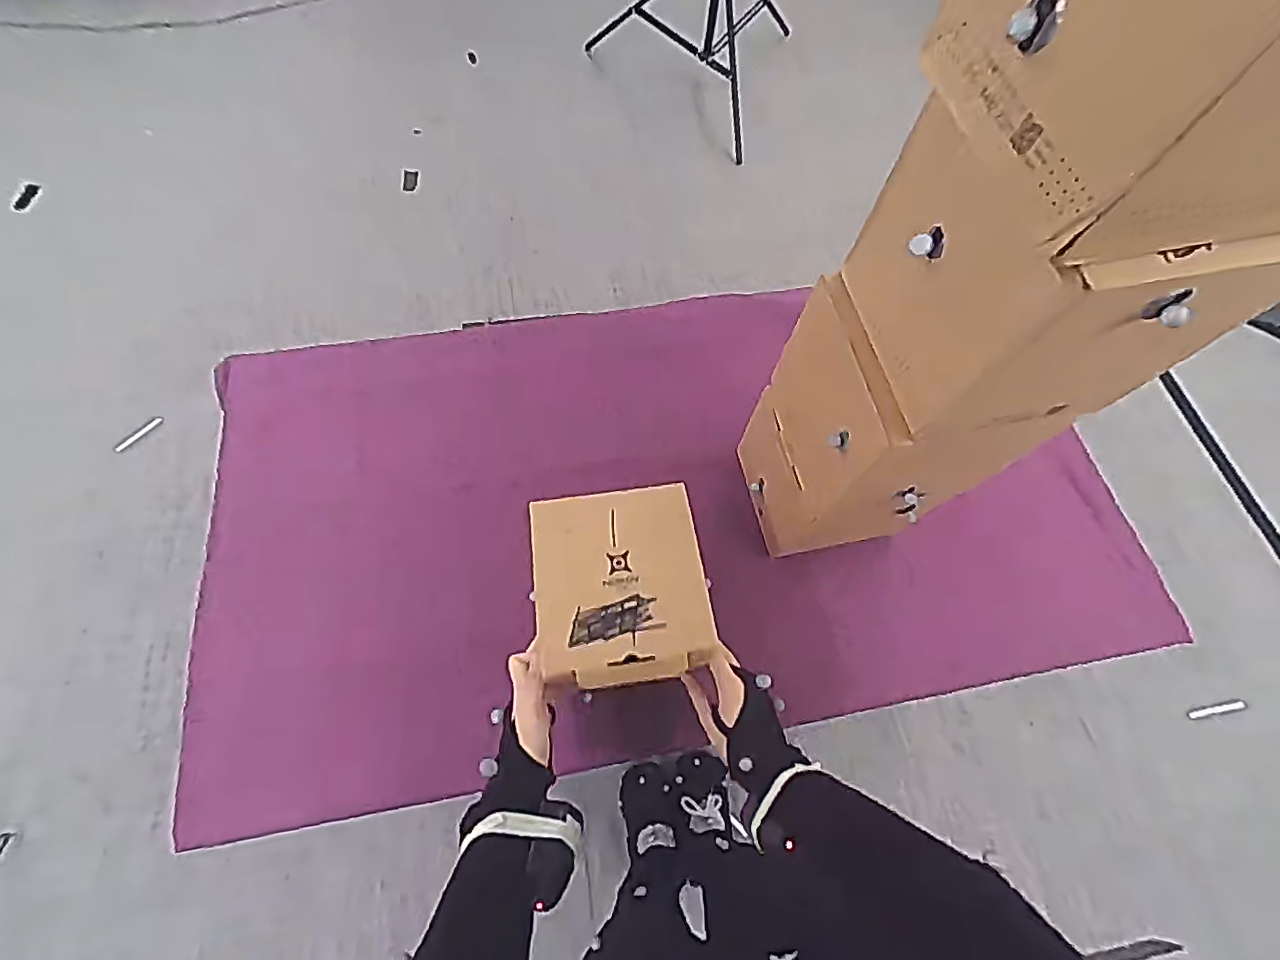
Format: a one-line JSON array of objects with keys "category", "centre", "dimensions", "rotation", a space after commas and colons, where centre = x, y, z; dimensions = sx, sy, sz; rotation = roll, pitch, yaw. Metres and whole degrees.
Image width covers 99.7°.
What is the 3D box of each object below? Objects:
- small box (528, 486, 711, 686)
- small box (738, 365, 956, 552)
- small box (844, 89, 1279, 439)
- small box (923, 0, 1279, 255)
[{"category": "small box", "centre": [-0.025, 0.126, 0.601], "dimensions": [0.168, 0.176, 0.179], "rotation": [-7, 65, -5]}, {"category": "small box", "centre": [0.239, -0.021, 0.675], "dimensions": [0.179, 0.176, 0.168], "rotation": [-10, 67, -6]}, {"category": "small box", "centre": [0.270, -0.152, 0.376], "dimensions": [0.168, 0.176, 0.179], "rotation": [-10, 67, -6]}, {"category": "small box", "centre": [0.267, -0.225, 0.230], "dimensions": [0.179, 0.176, 0.168], "rotation": [-11, 68, -7]}]
